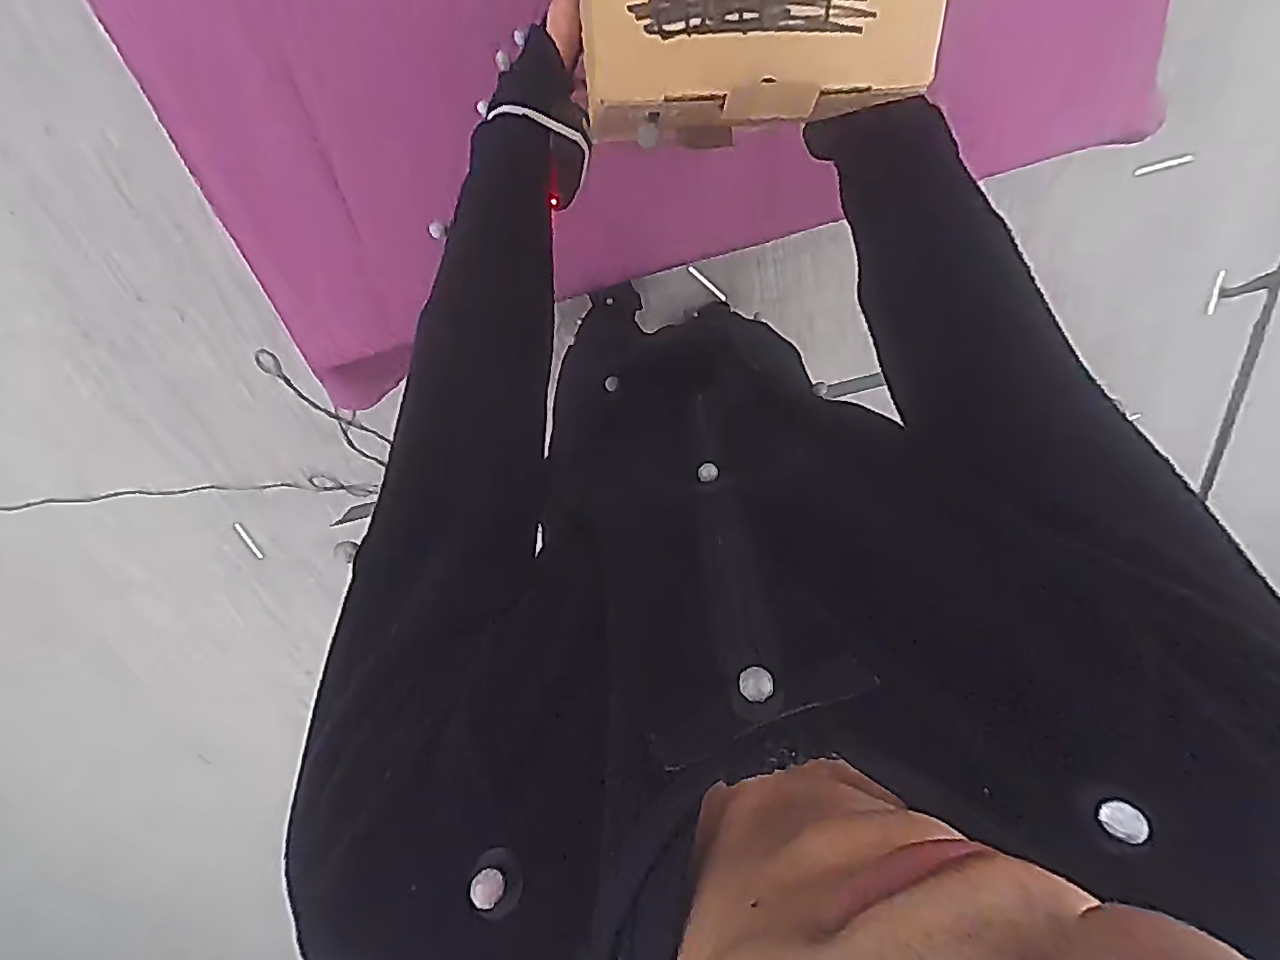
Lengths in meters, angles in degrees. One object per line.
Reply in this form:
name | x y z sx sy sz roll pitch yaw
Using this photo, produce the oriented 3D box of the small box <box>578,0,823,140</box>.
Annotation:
small box | 0.036 -0.382 0.429 0.168 0.176 0.179 -6 120 -3
